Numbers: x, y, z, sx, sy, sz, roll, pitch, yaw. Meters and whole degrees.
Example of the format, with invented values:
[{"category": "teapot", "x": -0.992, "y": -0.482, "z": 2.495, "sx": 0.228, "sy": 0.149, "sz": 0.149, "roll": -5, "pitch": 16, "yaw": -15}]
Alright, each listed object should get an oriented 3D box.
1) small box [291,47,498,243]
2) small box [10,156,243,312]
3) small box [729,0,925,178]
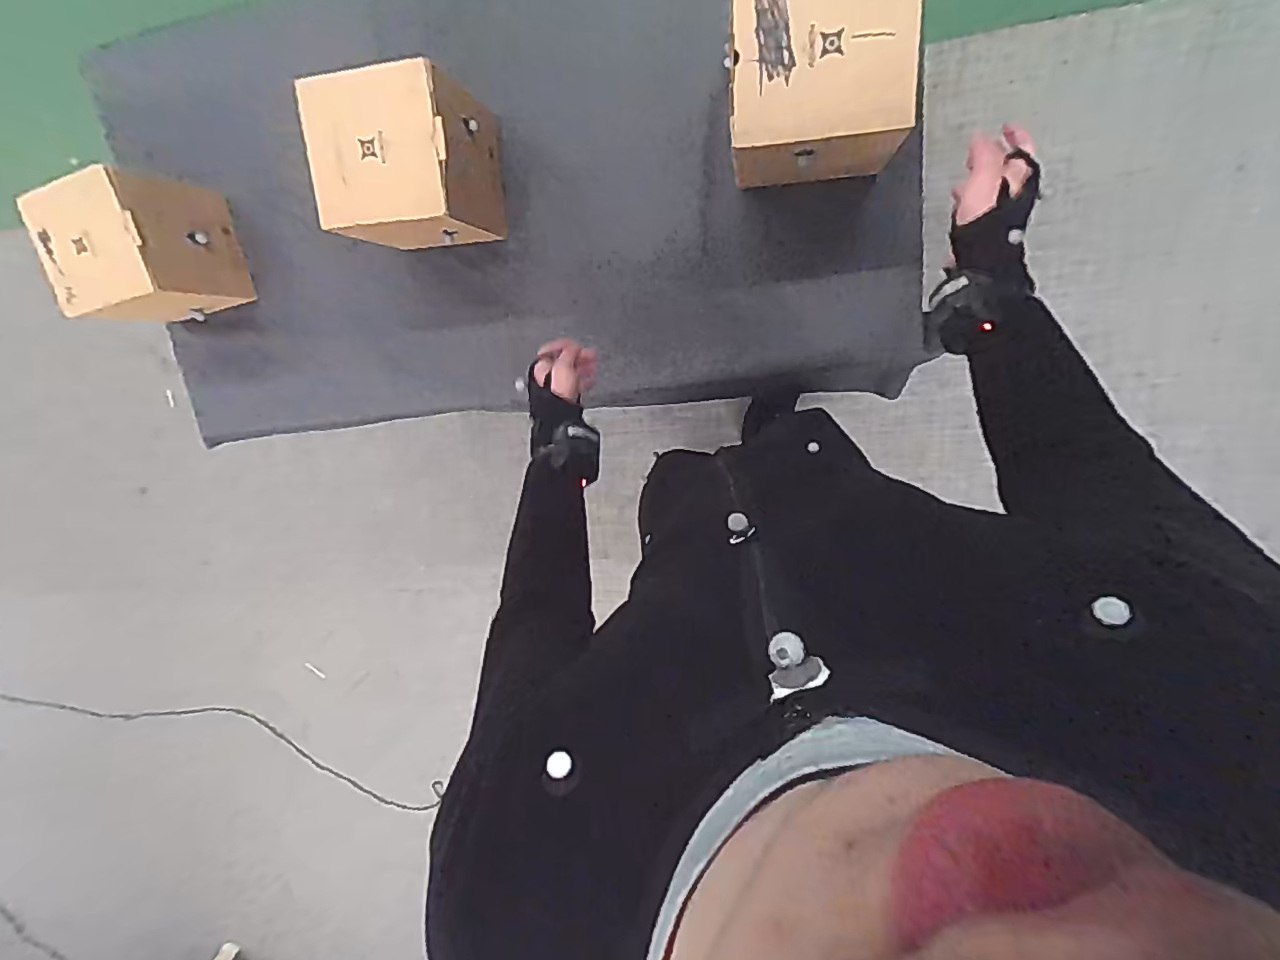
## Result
[{"category": "small box", "x": -0.298, "y": -0.414, "z": 0.700, "sx": 0.179, "sy": 0.176, "sz": 0.168, "roll": 0, "pitch": 104, "yaw": 13}, {"category": "small box", "x": -0.743, "y": -0.352, "z": 0.809, "sx": 0.179, "sy": 0.176, "sz": 0.168, "roll": -9, "pitch": 103, "yaw": 13}, {"category": "small box", "x": 0.189, "y": -0.442, "z": 0.584, "sx": 0.179, "sy": 0.176, "sz": 0.168, "roll": 1, "pitch": 106, "yaw": 11}]
